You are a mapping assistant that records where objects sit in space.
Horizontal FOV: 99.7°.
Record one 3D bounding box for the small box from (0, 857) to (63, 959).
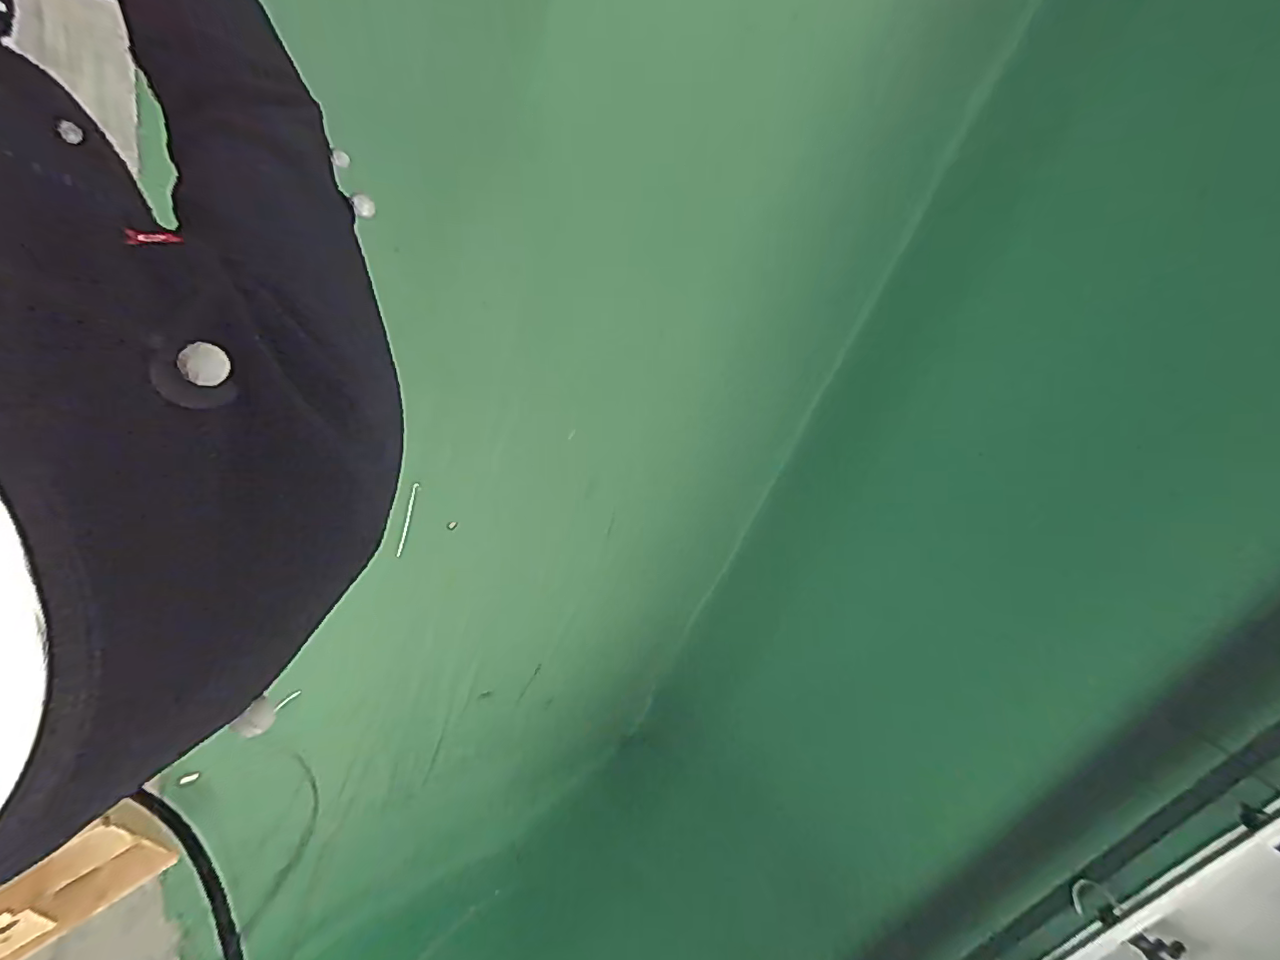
[{"bbox_3d":[-1.800,1.221,1.536,0.168,0.176,0.179,-23,140,-35],"label":"small box"}]
